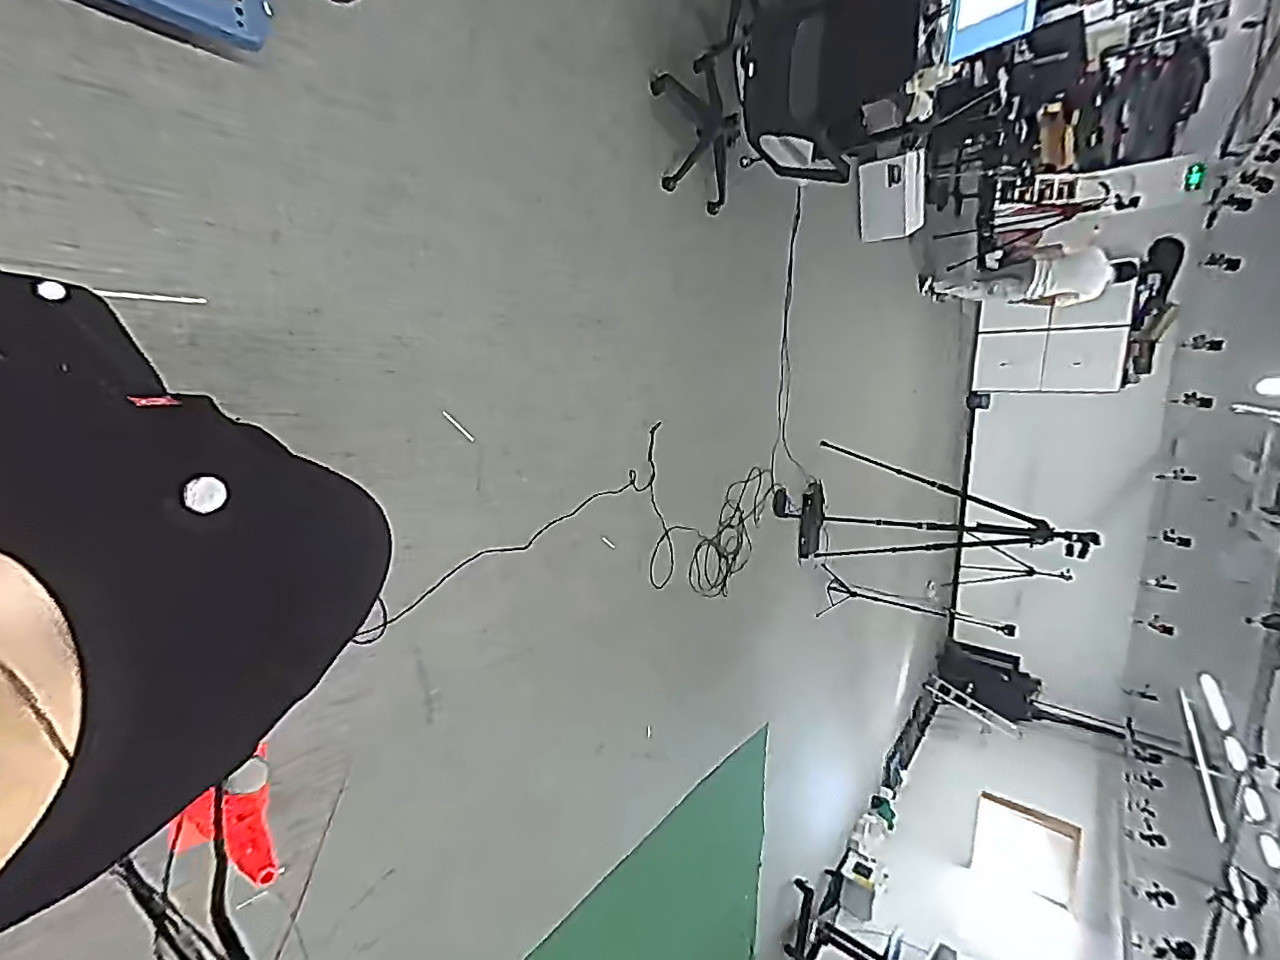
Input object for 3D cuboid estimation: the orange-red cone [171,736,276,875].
[{"bbox_3d":[-0.907,0.777,1.232,0.198,0.360,0.199,-4,101,-49],"label":"orange-red cone"}]
